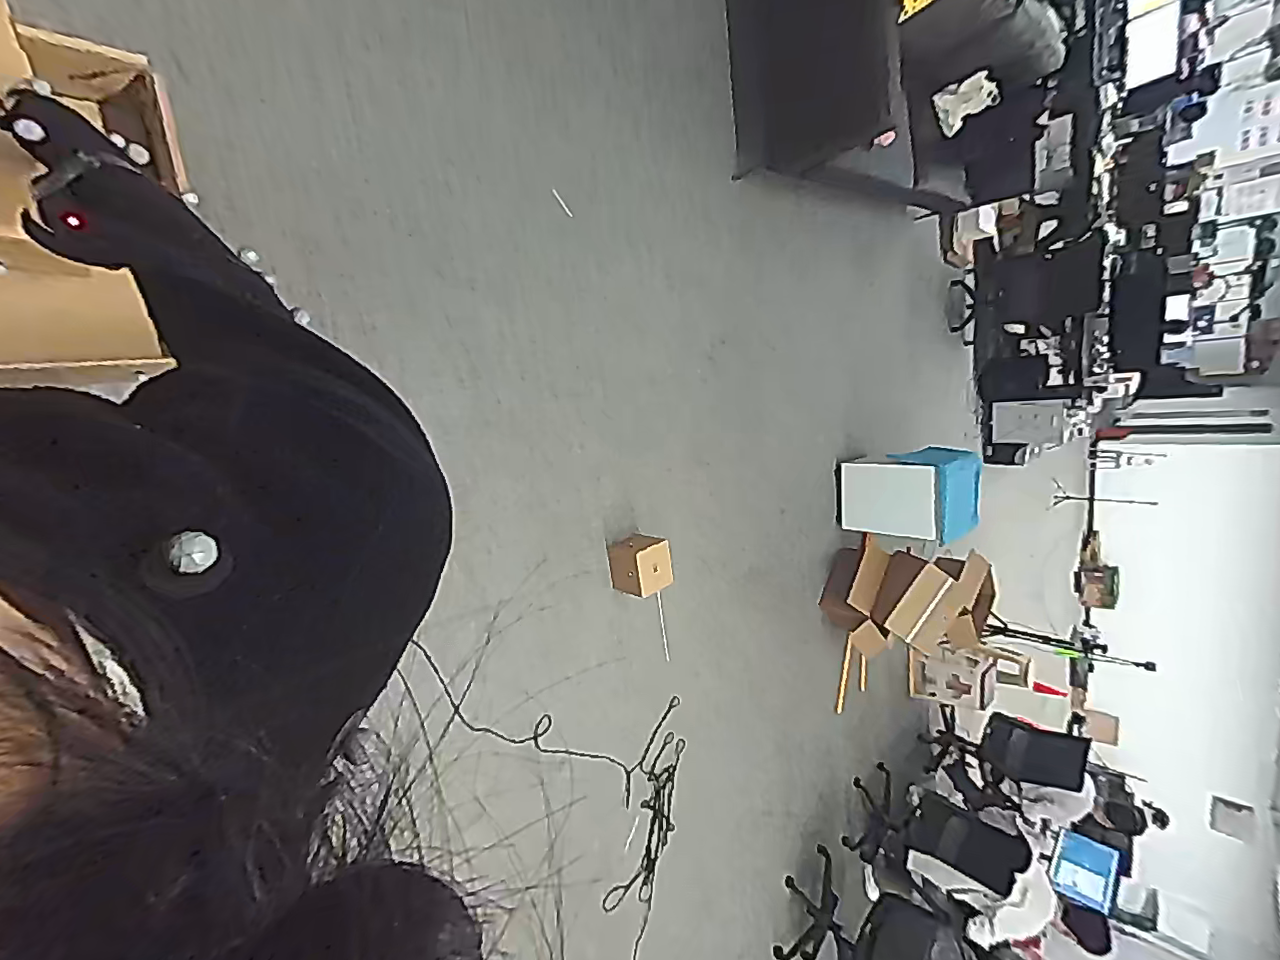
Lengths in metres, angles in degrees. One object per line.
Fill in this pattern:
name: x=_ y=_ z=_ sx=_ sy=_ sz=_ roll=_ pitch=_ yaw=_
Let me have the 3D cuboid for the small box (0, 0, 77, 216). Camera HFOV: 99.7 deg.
small box: x=-0.691 y=-0.369 z=0.515 sx=0.179 sy=0.176 sz=0.168 roll=-18 pitch=102 yaw=-40

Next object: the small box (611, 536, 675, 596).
small box: x=0.009 y=0.315 z=2.027 sx=0.168 sy=0.176 sz=0.179 roll=-17 pitch=105 yaw=-40
